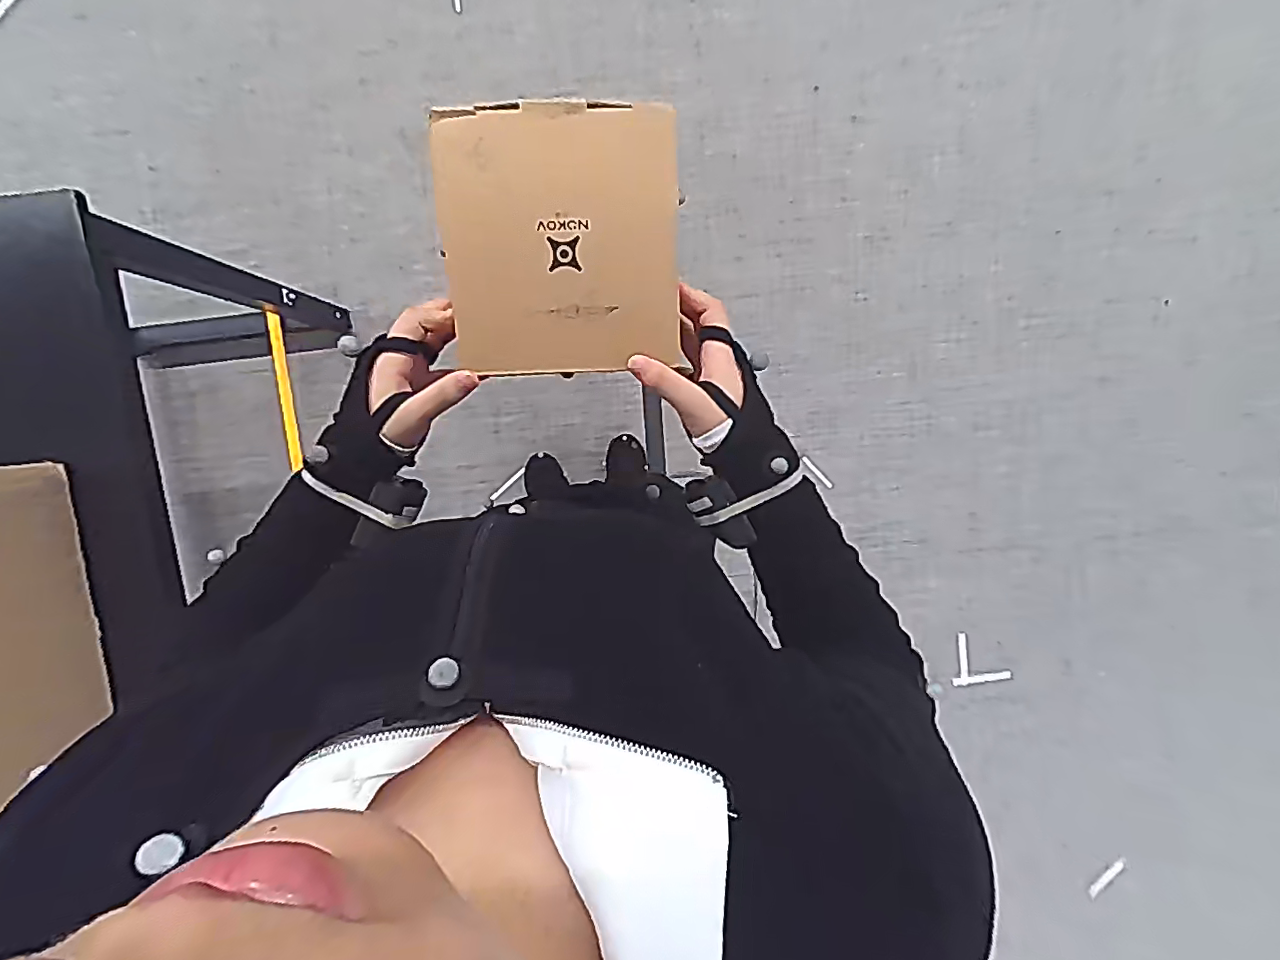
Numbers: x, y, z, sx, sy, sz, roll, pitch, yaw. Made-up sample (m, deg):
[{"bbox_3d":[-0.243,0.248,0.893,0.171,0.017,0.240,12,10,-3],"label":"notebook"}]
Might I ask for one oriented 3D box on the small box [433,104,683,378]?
[{"bbox_3d":[-0.057,-0.184,0.452,0.168,0.176,0.179,-3,108,-3],"label":"small box"}]
